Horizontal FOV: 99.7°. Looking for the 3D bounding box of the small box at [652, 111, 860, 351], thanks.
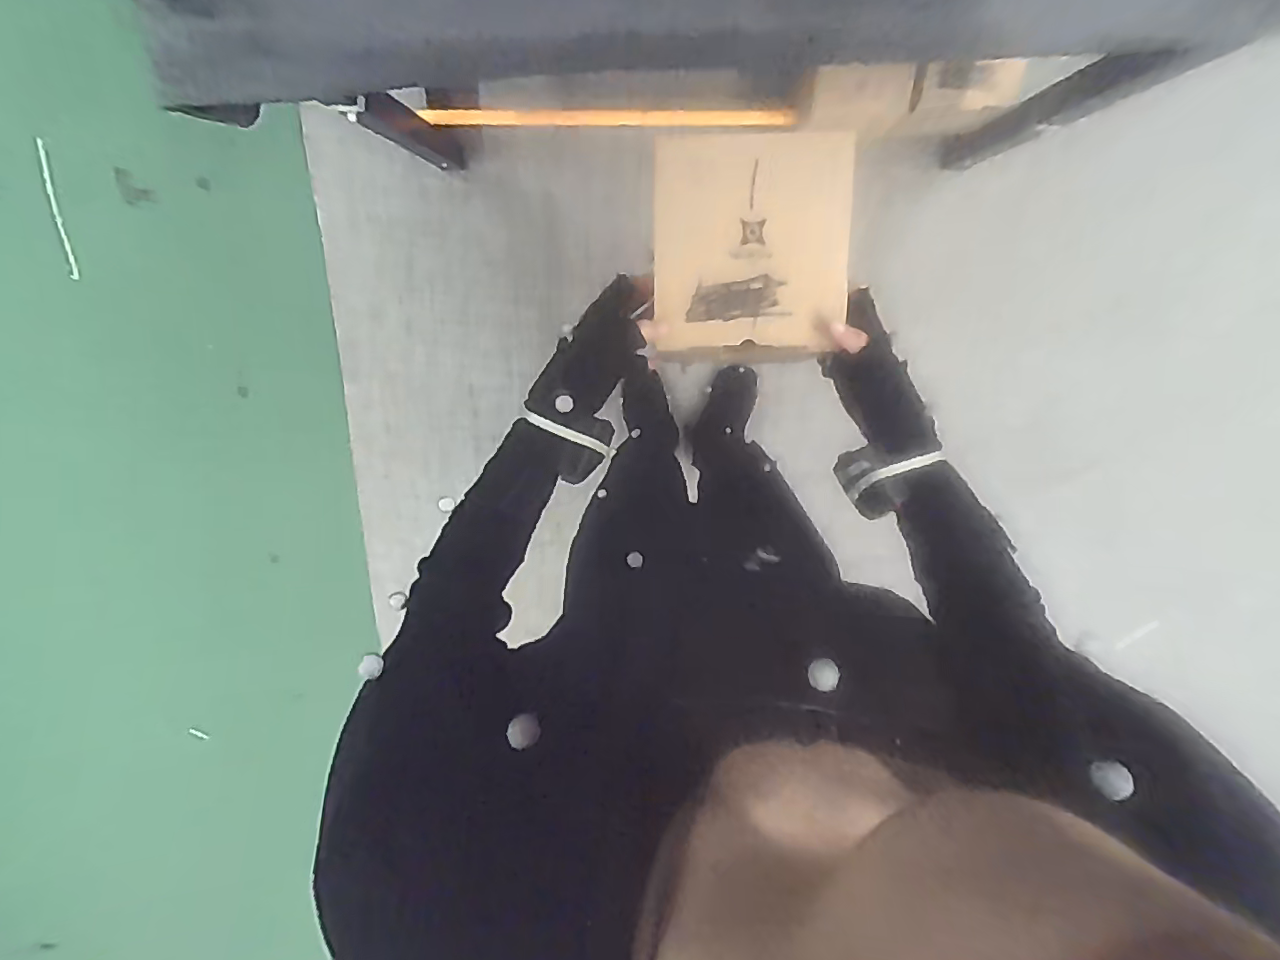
[{"bbox_3d":[0.100,-0.222,0.528,0.168,0.176,0.179,1,97,4],"label":"small box"}]
